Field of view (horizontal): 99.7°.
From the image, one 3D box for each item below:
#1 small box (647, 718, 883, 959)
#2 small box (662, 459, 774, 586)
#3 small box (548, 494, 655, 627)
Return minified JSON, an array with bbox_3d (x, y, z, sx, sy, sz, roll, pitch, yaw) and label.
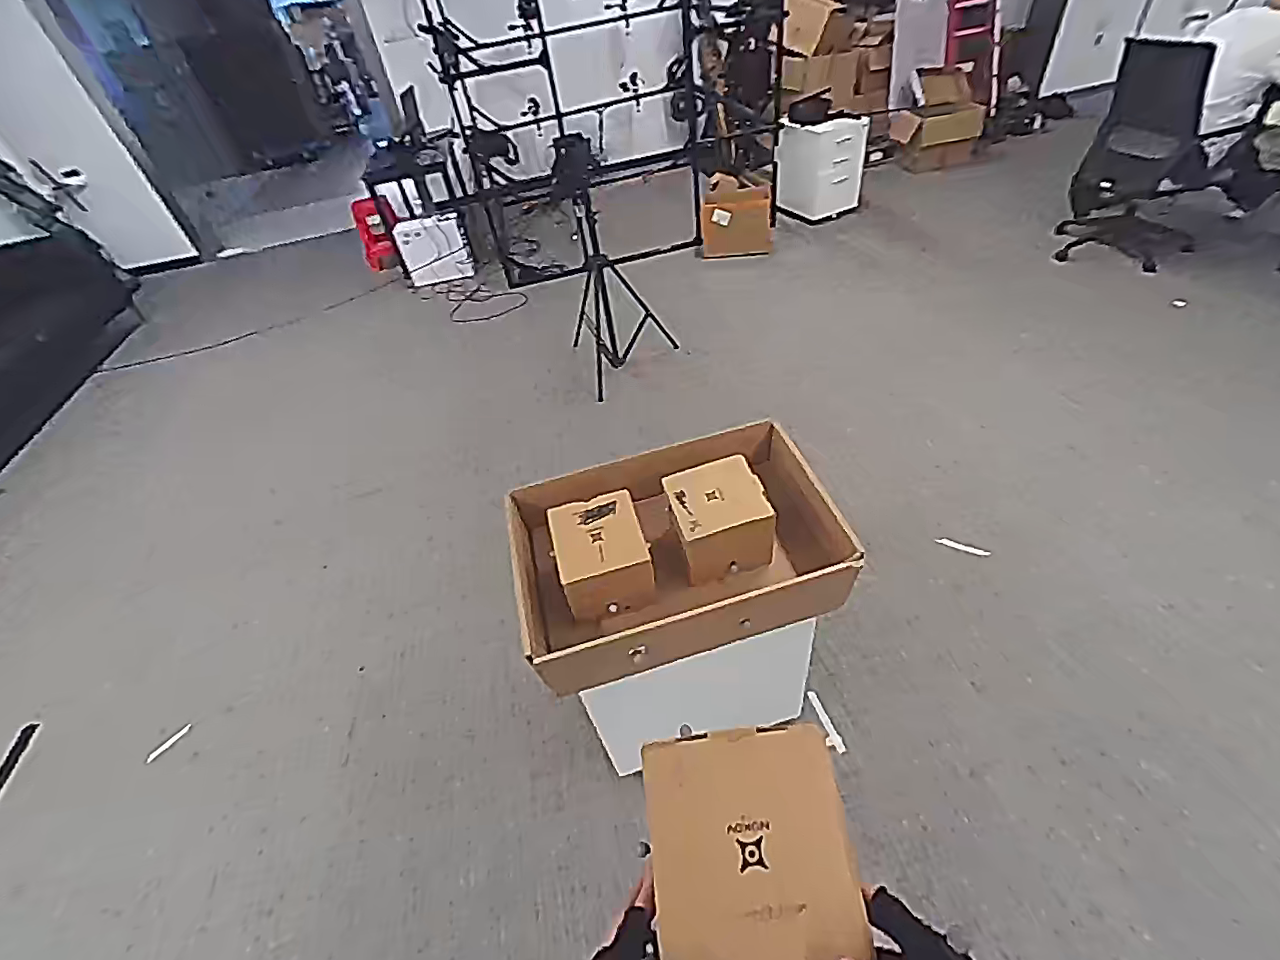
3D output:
[{"bbox_3d":[0.095,0.337,0.514,0.168,0.176,0.179,-6,61,-2],"label":"small box"},{"bbox_3d":[0.155,0.088,1.099,0.179,0.176,0.168,-16,48,-4],"label":"small box"},{"bbox_3d":[-0.074,0.160,1.068,0.168,0.176,0.179,-15,49,-6],"label":"small box"}]
